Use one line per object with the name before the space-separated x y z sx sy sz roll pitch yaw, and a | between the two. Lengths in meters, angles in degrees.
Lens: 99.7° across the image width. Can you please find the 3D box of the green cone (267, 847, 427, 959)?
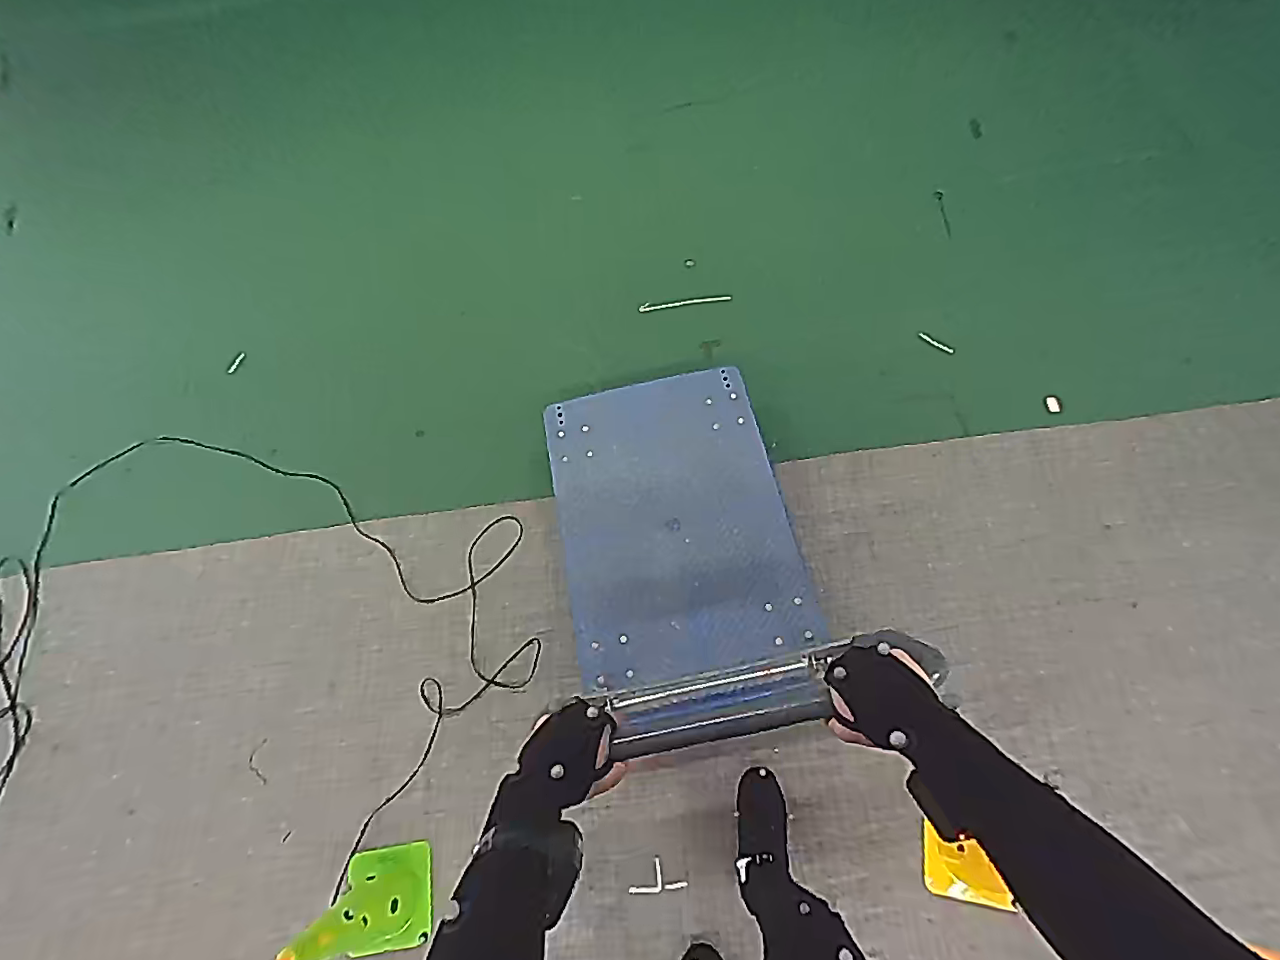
green cone | -0.609 0.907 1.089 0.202 0.368 0.200 -12 66 2
